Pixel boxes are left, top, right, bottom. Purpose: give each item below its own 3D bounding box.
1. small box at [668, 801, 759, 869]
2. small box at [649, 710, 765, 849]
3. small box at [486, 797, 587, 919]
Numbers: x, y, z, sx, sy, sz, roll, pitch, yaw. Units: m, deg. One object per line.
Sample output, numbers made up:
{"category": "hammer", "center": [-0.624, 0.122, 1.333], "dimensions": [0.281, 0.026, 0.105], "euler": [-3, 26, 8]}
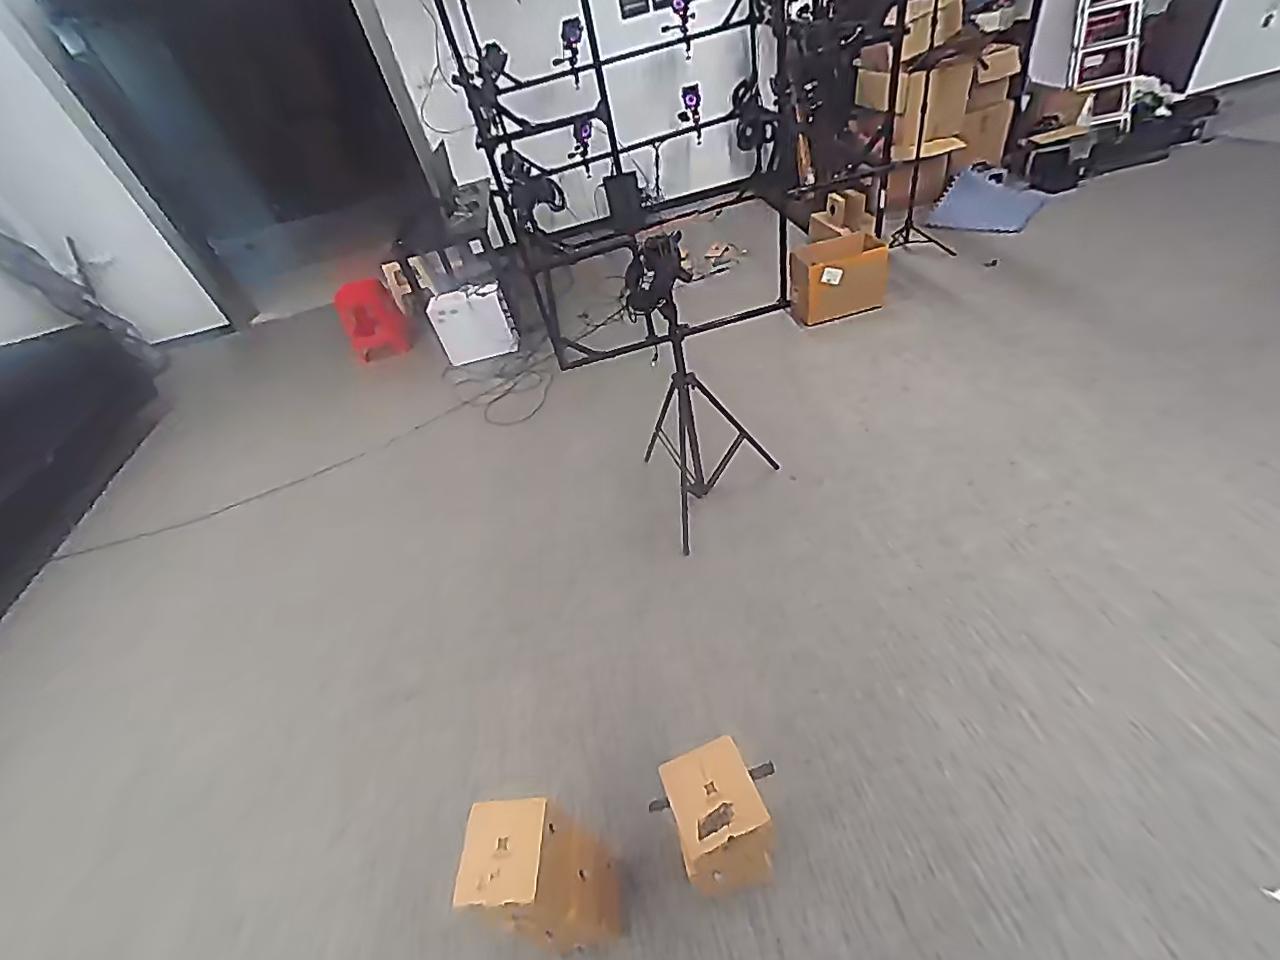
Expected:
{"category": "small box", "center": [0.152, 0.712, 1.182], "dimensions": [0.168, 0.176, 0.179], "euler": [-16, 42, -1]}
{"category": "small box", "center": [0.135, 0.595, 1.065], "dimensions": [0.168, 0.176, 0.179], "euler": [-21, 44, -7]}
{"category": "small box", "center": [-0.216, 0.823, 1.176], "dimensions": [0.168, 0.176, 0.179], "euler": [-13, 43, 4]}
